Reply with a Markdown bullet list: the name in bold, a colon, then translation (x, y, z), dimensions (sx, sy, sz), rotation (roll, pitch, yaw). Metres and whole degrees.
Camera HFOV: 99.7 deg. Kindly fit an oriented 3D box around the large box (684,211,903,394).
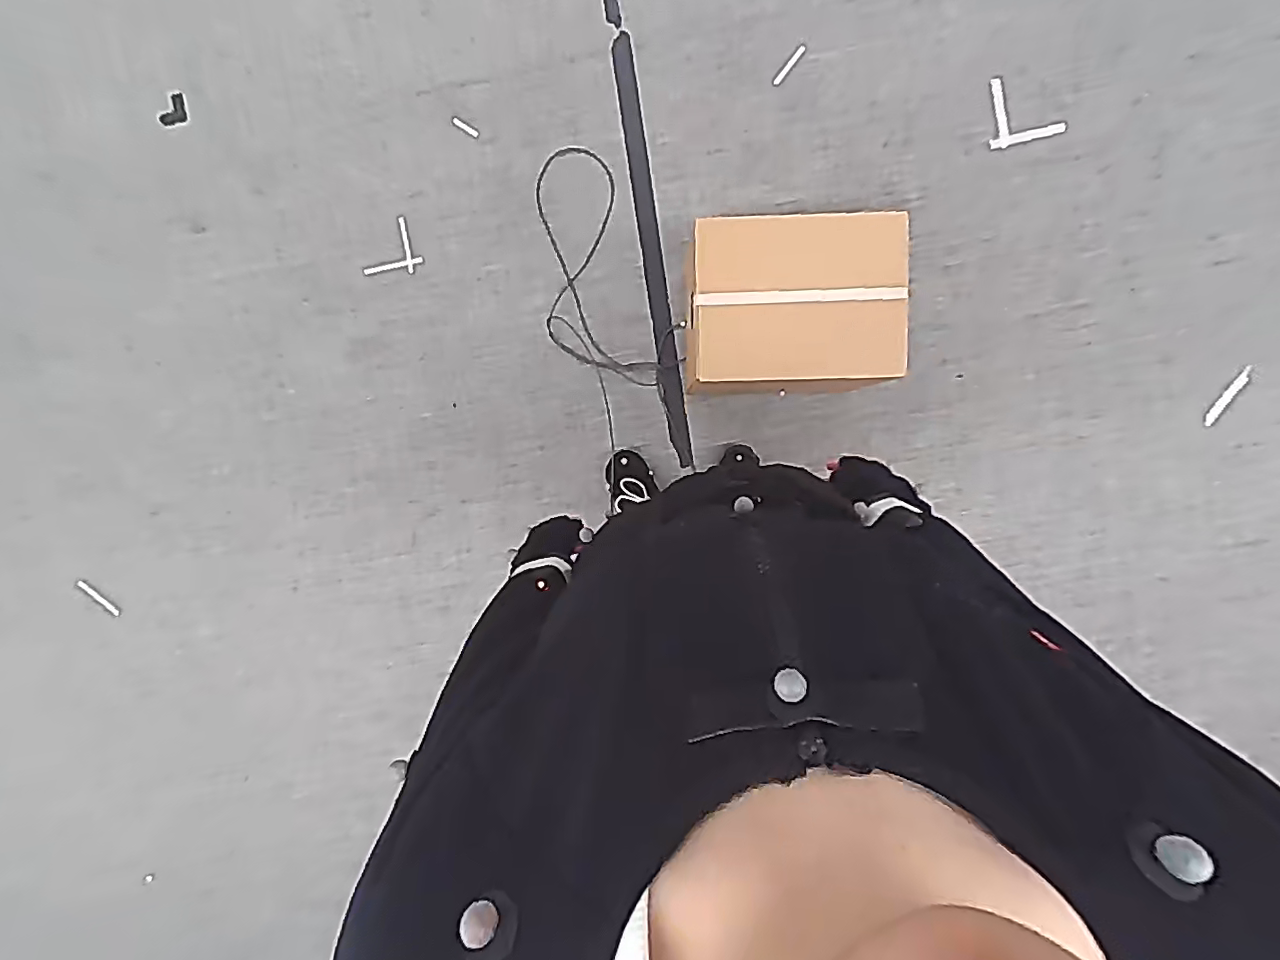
- **large box**: translation (0.309, -0.364, 1.194), dimensions (0.408, 0.320, 0.320), rotation (-1, 94, 2)
